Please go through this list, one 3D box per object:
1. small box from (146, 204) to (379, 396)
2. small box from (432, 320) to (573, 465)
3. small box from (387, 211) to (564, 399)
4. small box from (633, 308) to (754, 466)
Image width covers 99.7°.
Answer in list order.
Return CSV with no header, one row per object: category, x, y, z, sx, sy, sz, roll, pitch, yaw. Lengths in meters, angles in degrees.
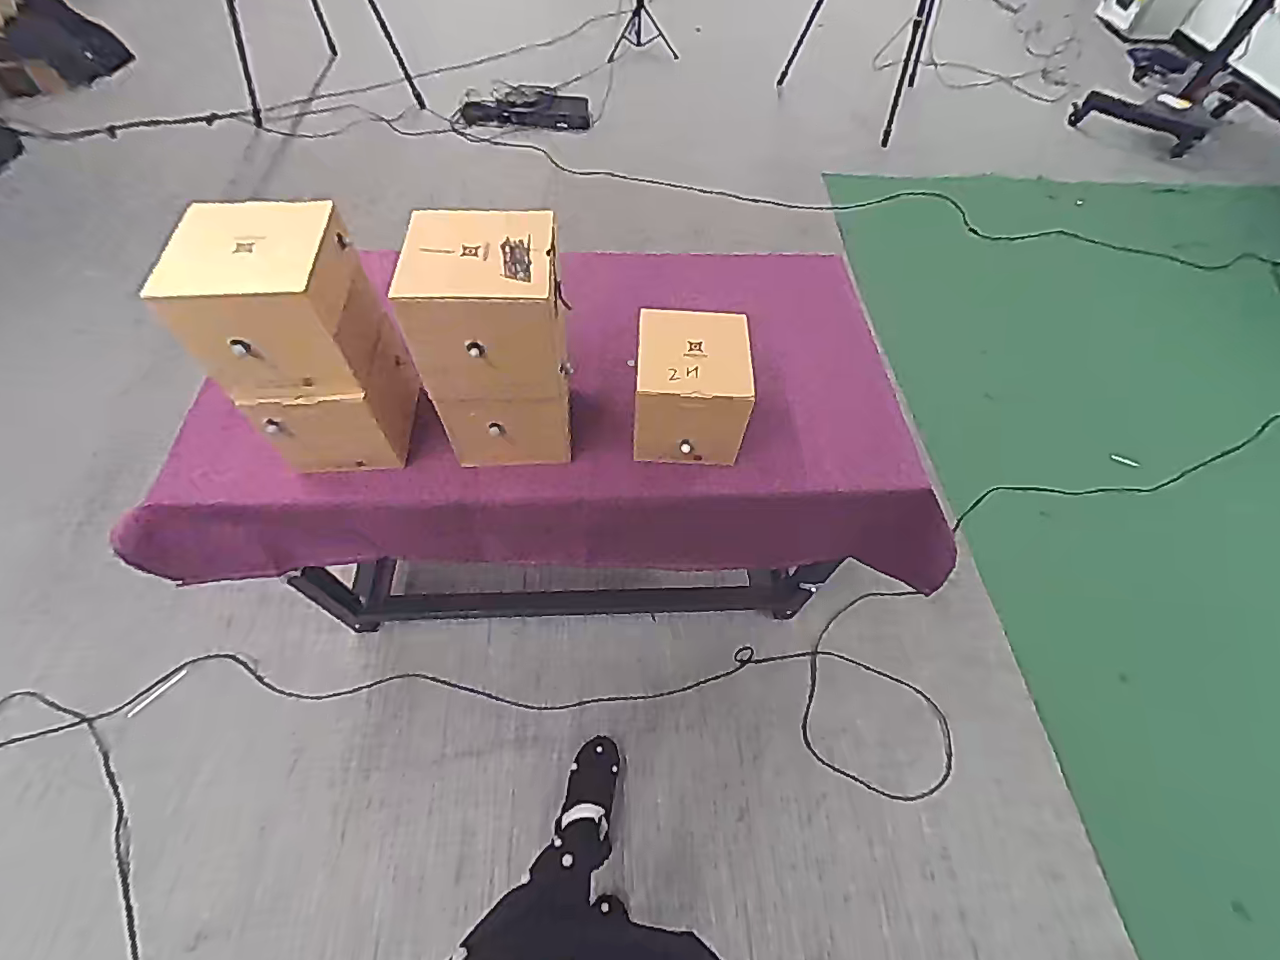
small box,-0.453,-0.220,0.688,0.168,0.176,0.179,-5,57,-5
small box,-0.199,-0.134,0.837,0.179,0.176,0.168,-2,58,-4
small box,-0.193,-0.218,0.695,0.179,0.176,0.168,-1,57,-3
small box,0.077,-0.144,0.852,0.168,0.176,0.179,3,57,0
